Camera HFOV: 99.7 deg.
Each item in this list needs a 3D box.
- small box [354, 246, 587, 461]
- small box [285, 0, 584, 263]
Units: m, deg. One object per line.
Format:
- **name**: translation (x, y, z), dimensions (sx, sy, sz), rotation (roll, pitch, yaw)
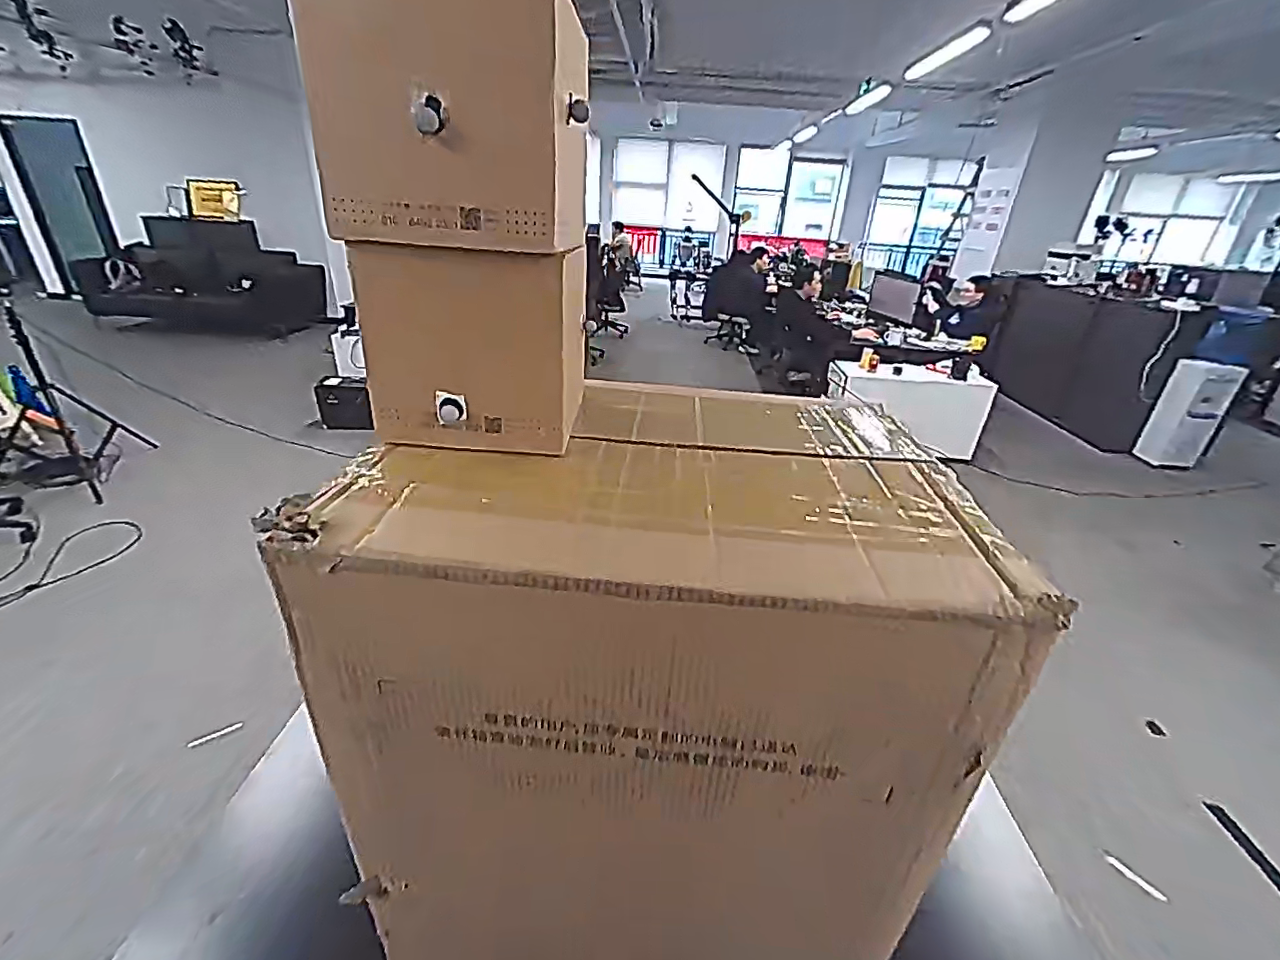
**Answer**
- **small box**: translation (-0.141, -0.131, 0.517), dimensions (0.168, 0.176, 0.179), rotation (2, 27, -2)
- **small box**: translation (-0.135, -0.271, 0.431), dimensions (0.168, 0.176, 0.179), rotation (3, 26, 0)
